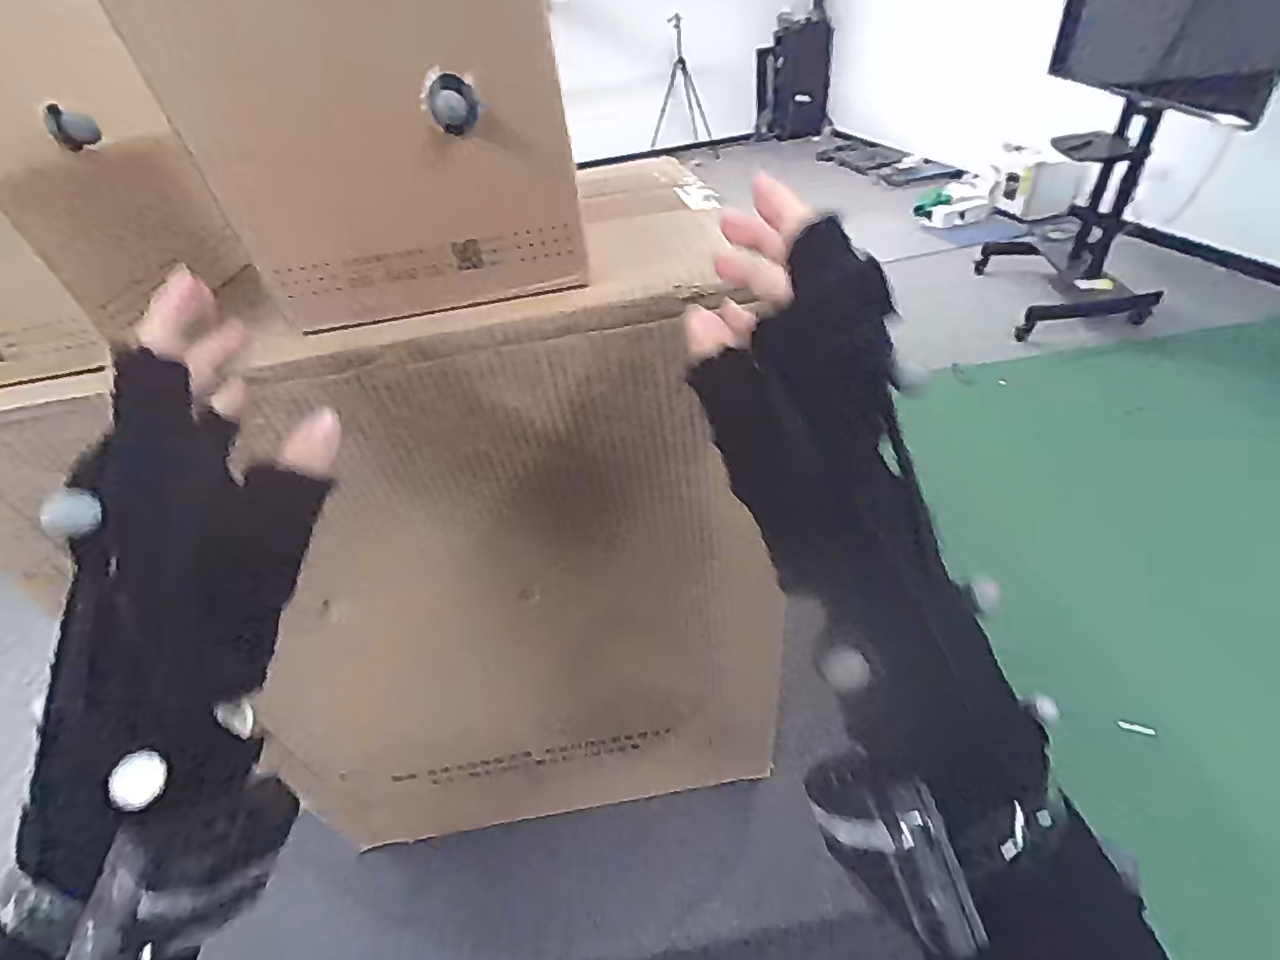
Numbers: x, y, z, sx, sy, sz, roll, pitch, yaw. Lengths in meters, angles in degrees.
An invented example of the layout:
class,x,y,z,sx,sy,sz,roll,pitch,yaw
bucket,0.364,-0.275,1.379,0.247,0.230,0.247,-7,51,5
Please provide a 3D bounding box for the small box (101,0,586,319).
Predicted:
class,x,y,z,sx,sy,sz,roll,pitch,yaw
small box,-0.126,-0.202,0.309,0.168,0.176,0.179,-9,39,-1

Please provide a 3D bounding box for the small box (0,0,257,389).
class,x,y,z,sx,sy,sz,roll,pitch,yaw
small box,-0.371,-0.162,0.310,0.168,0.176,0.179,-10,41,0
